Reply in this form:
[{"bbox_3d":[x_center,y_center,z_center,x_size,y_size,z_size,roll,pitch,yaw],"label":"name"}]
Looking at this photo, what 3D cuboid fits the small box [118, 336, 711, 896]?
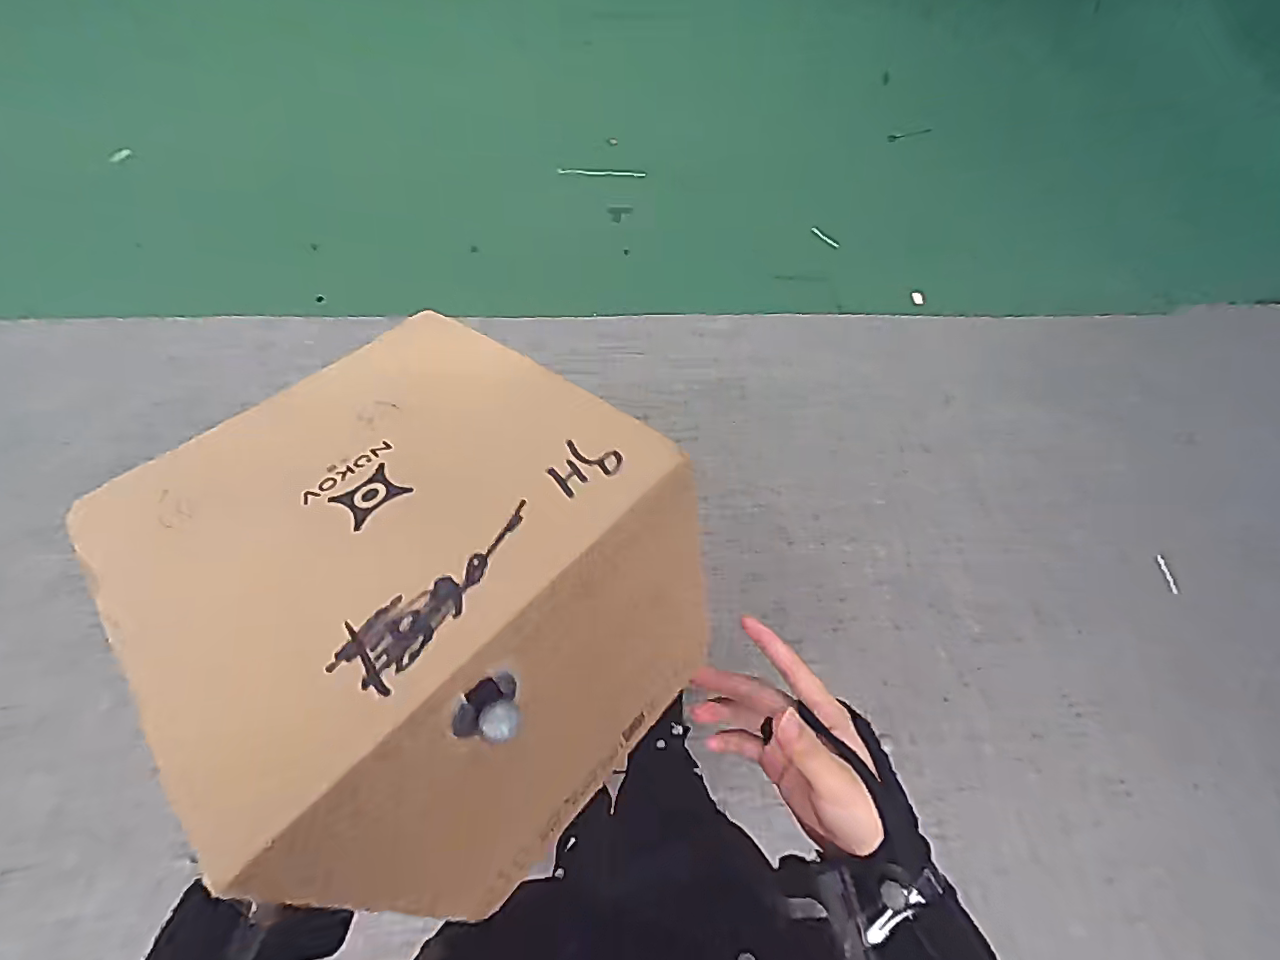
[{"bbox_3d":[-0.083,0.062,0.265,0.179,0.176,0.168,30,61,32],"label":"small box"}]
